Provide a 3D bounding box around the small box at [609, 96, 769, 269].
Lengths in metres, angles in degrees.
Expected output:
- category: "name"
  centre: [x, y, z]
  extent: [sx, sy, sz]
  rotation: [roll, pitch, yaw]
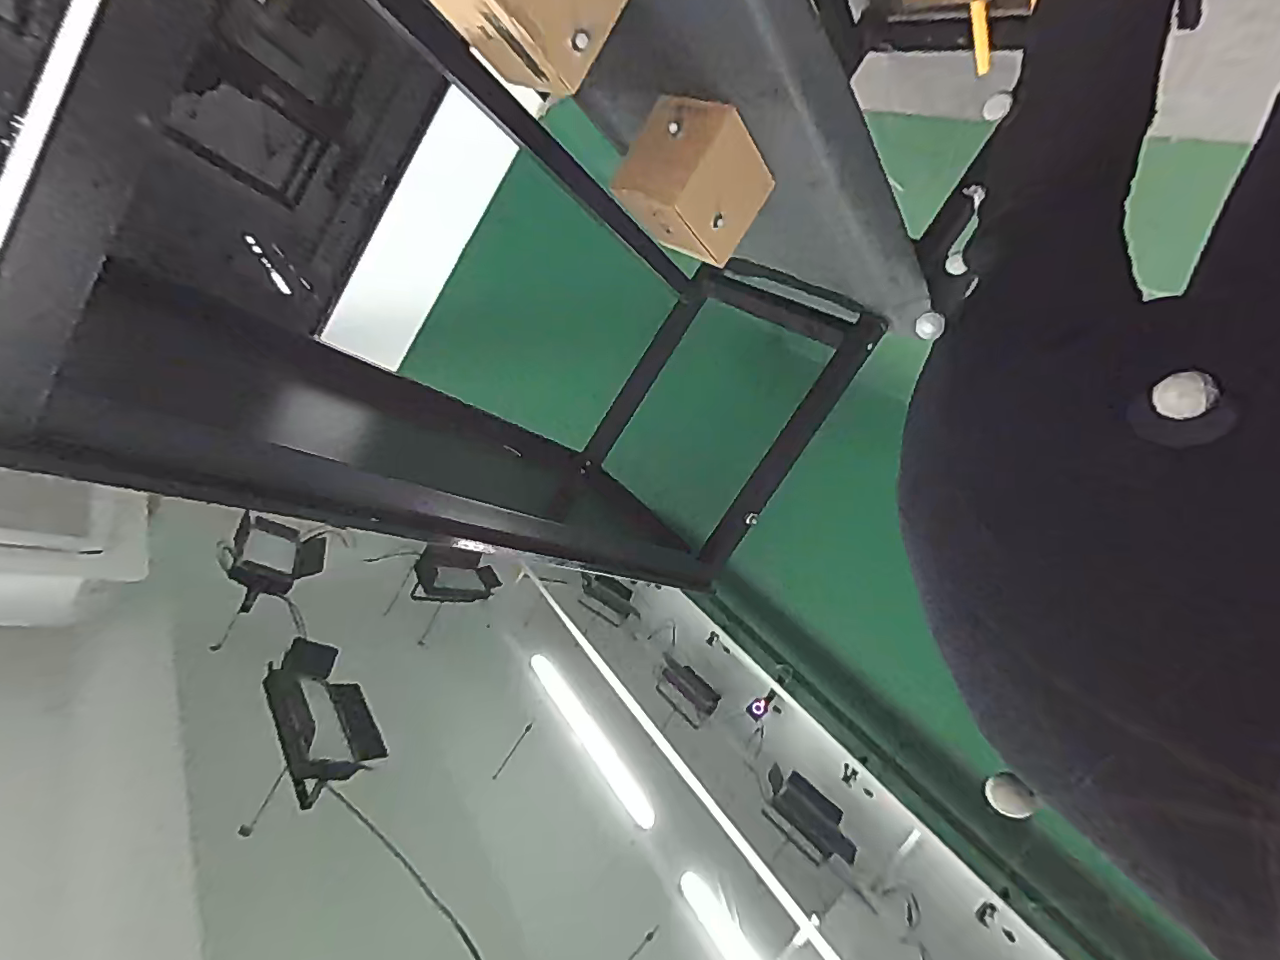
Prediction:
- category: "small box"
  centre: [0.088, -0.498, 0.912]
  extent: [0.168, 0.176, 0.179]
  rotation: [38, -172, 35]
